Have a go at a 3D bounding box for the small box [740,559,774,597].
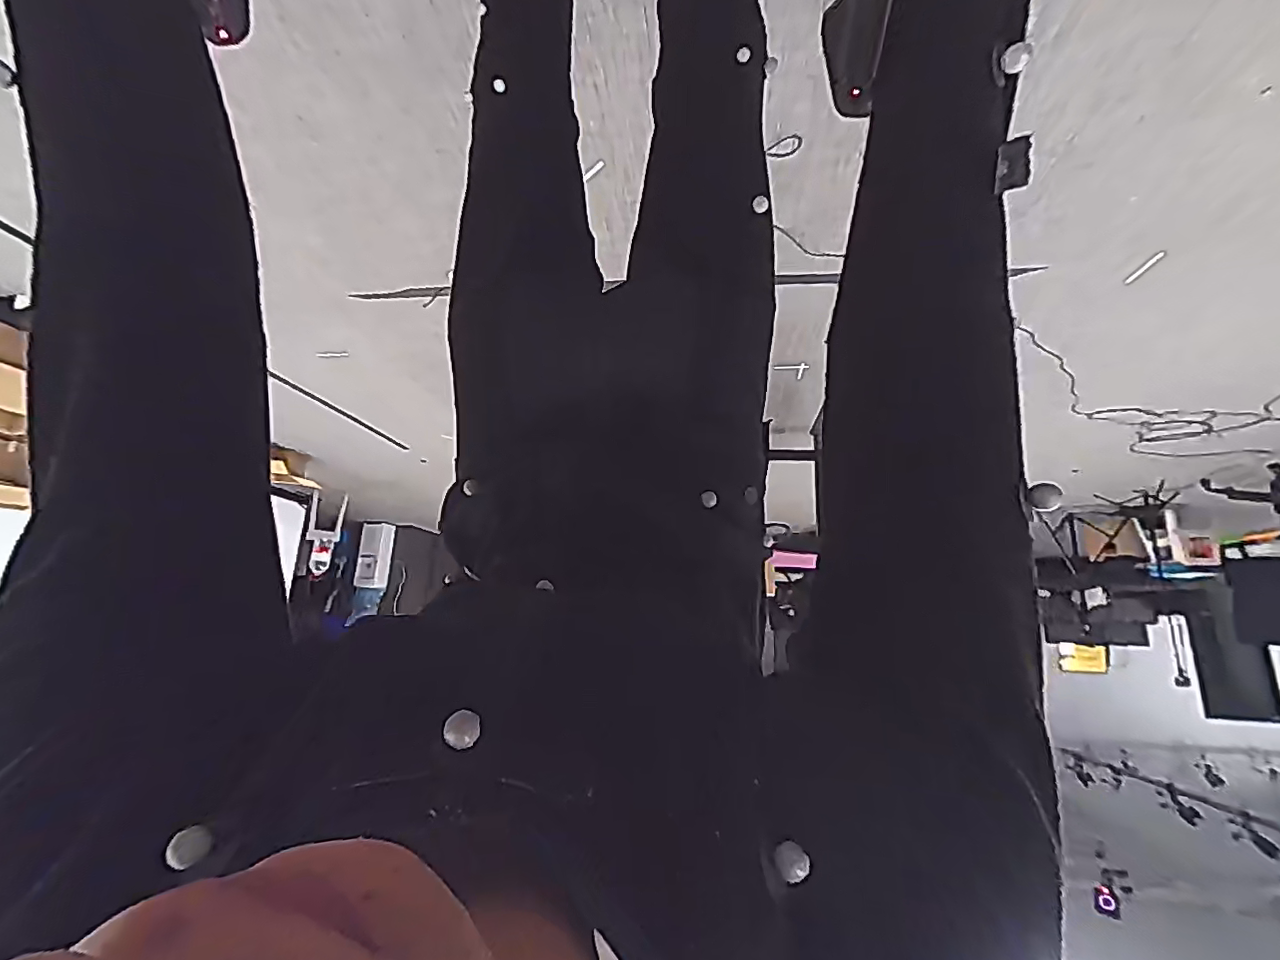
[{"bbox_3d":[0.586,0.496,2.717,0.168,0.176,0.179,0,164,11],"label":"small box"}]
